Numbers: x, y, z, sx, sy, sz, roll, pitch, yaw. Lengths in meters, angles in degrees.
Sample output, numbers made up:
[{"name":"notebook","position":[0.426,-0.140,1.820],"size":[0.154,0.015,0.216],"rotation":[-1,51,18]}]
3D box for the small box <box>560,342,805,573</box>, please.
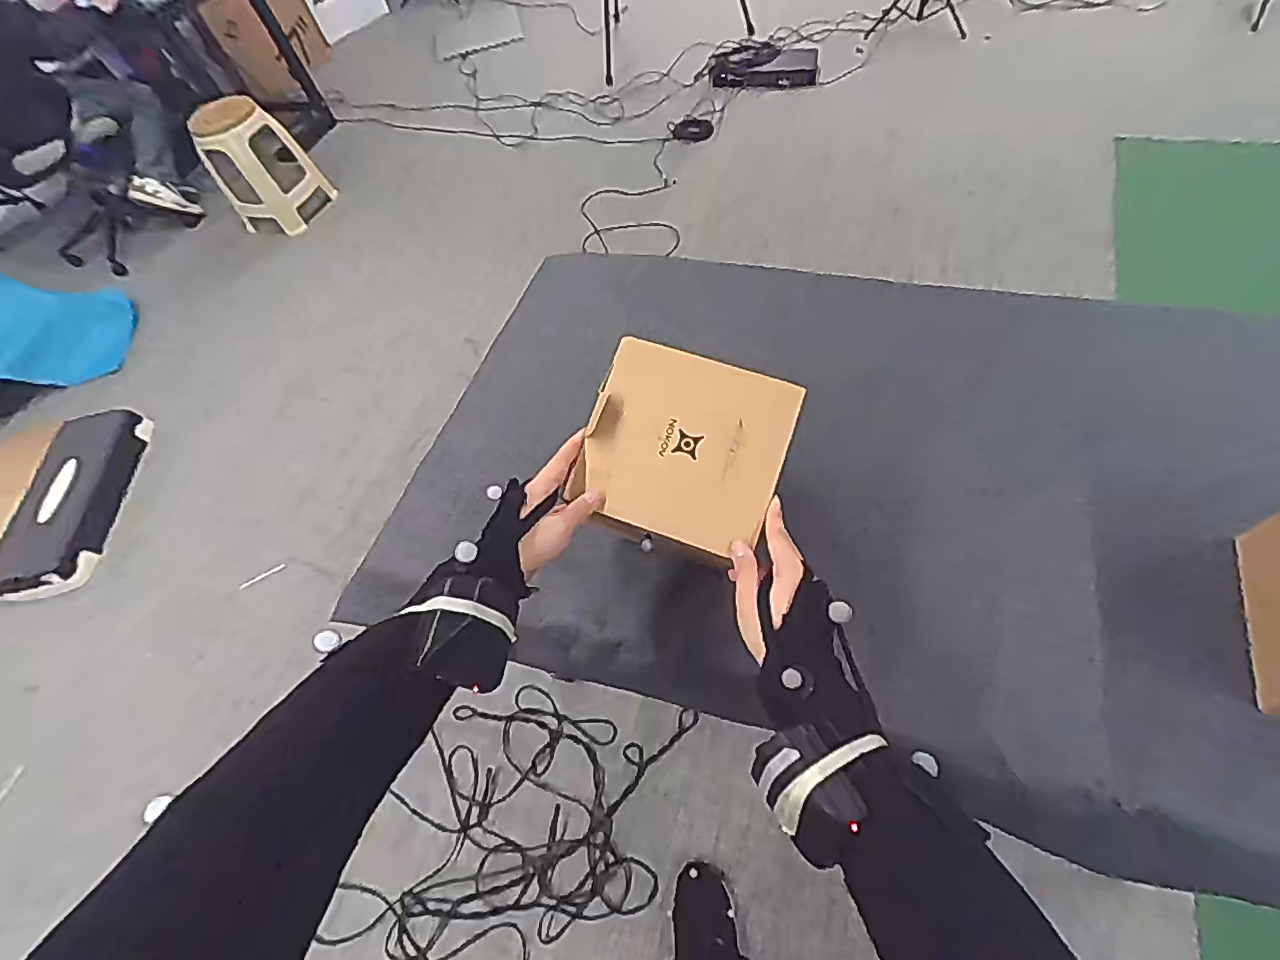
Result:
[{"name":"small box","position":[0.042,-0.010,0.549],"size":[0.179,0.176,0.168],"rotation":[18,79,7]}]
